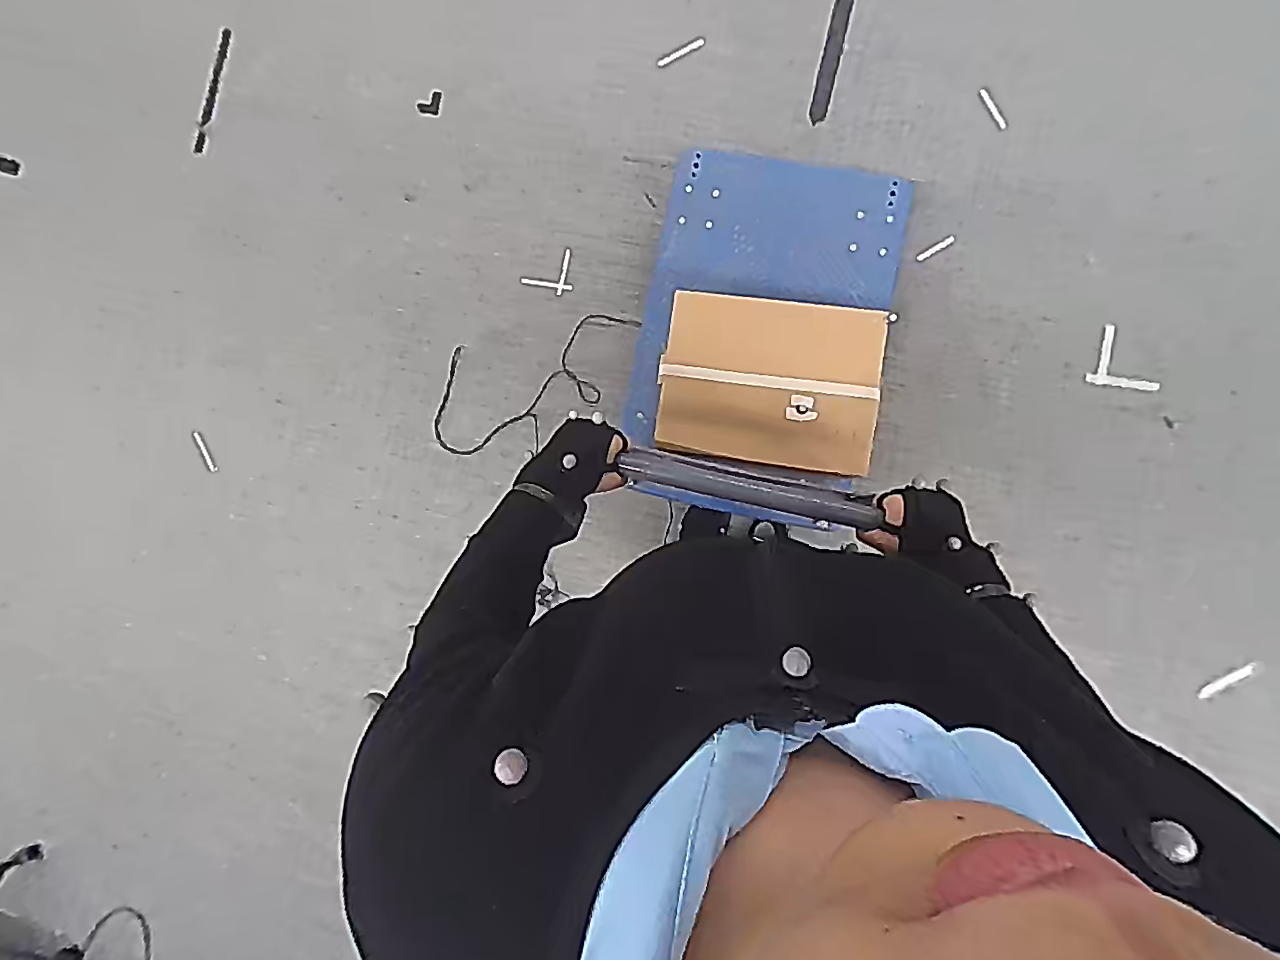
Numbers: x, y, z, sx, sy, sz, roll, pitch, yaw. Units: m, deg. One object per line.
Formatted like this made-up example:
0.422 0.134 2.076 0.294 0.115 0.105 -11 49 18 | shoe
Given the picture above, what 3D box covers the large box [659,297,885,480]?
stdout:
0.261 -0.178 1.182 0.408 0.320 0.320 8 90 5 | large box
